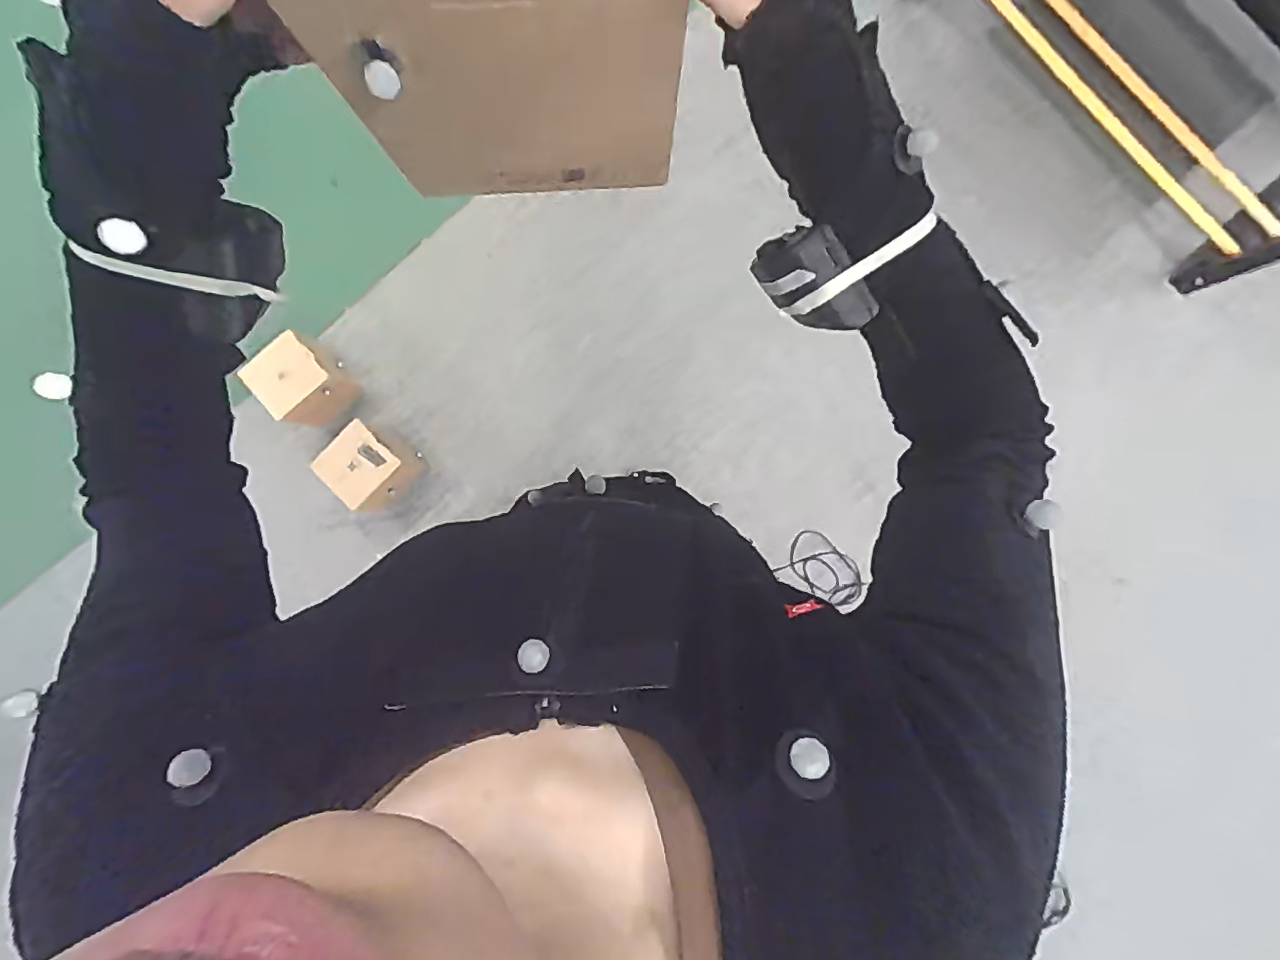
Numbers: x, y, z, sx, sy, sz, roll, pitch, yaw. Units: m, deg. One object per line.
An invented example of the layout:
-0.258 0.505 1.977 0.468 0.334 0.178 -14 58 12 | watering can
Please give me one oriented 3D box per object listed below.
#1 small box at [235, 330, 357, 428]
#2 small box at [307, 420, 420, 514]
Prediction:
-0.895 -0.256 1.425 0.179 0.176 0.168 -41 89 -1 | small box
-0.707 -0.032 1.413 0.168 0.176 0.179 45 90 2 | small box
